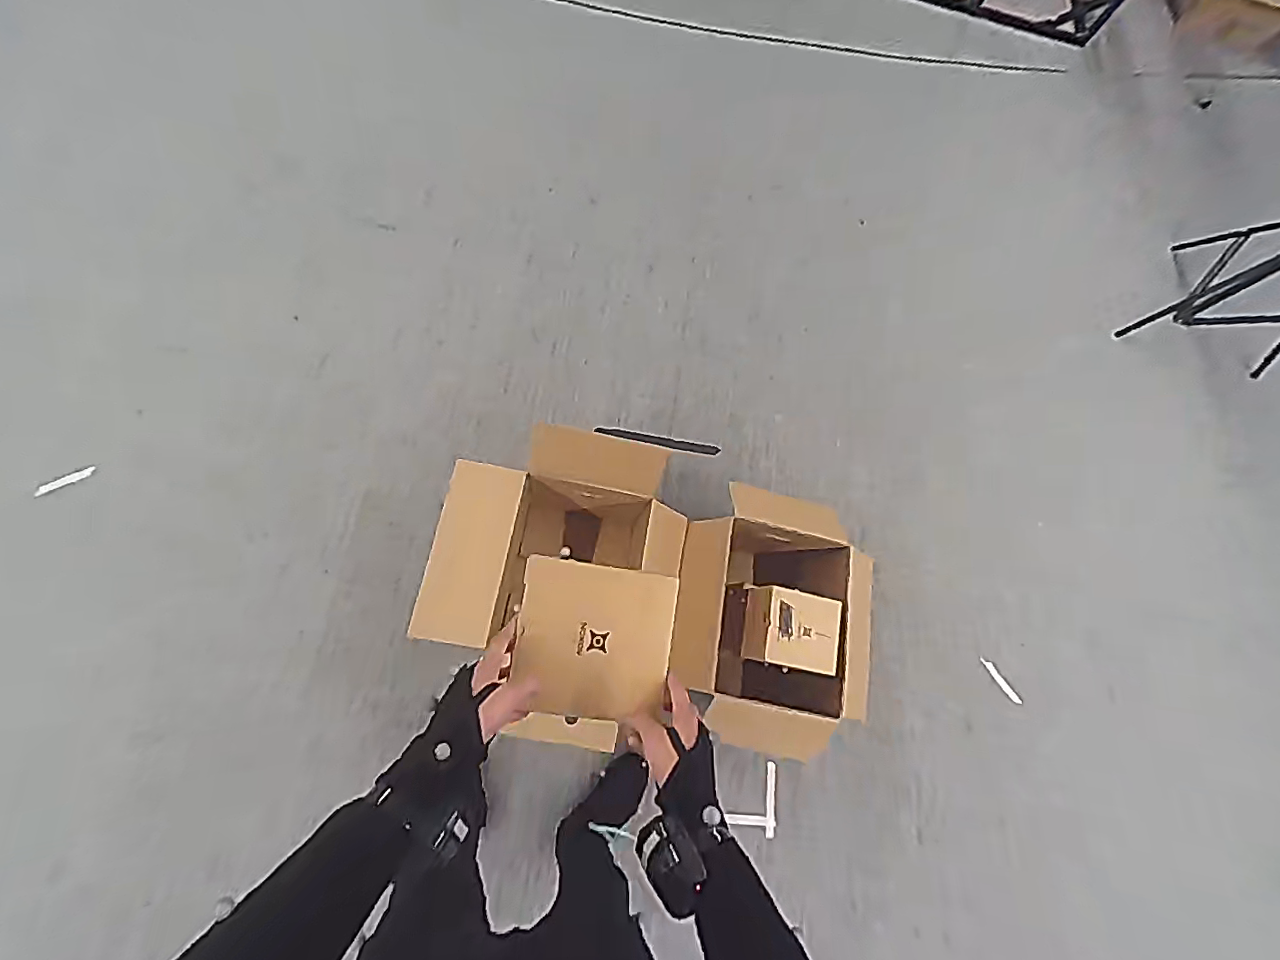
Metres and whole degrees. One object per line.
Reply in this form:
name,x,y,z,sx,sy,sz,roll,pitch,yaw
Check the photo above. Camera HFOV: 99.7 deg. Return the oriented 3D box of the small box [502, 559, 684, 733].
small box,-0.058,0.191,0.666,0.179,0.176,0.168,10,81,-6
